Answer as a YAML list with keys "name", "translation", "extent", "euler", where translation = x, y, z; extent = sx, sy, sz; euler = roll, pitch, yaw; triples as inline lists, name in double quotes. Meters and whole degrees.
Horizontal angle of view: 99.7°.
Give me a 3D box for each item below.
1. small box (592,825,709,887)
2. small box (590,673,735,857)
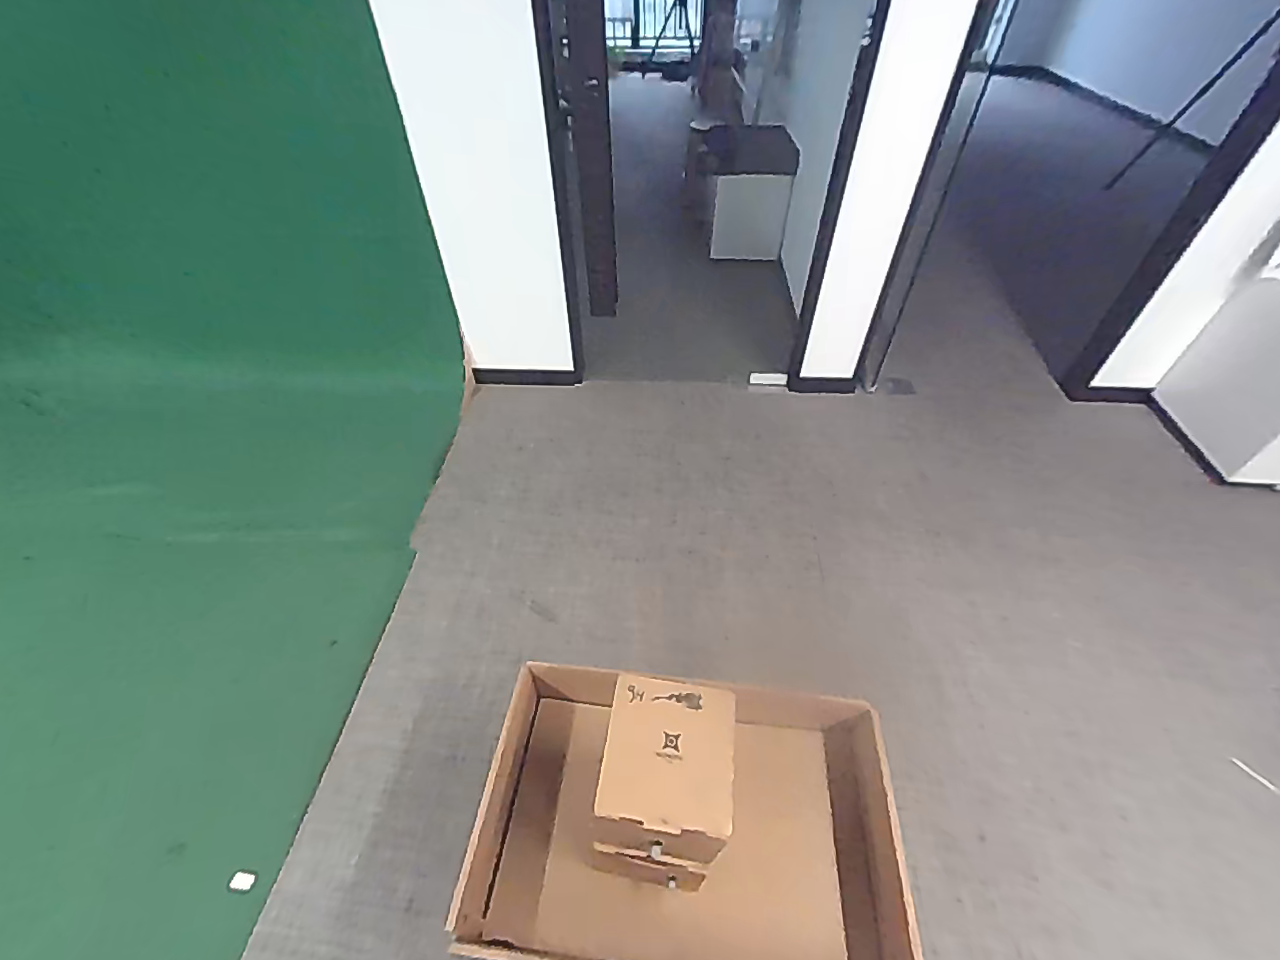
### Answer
- name: "small box"
  translation: [0.024, 0.517, 0.856]
  extent: [0.168, 0.176, 0.179]
  euler: [8, 45, 4]
- name: "small box"
  translation: [0.032, 0.396, 0.745]
  extent: [0.168, 0.176, 0.179]
  euler: [8, 47, 4]
